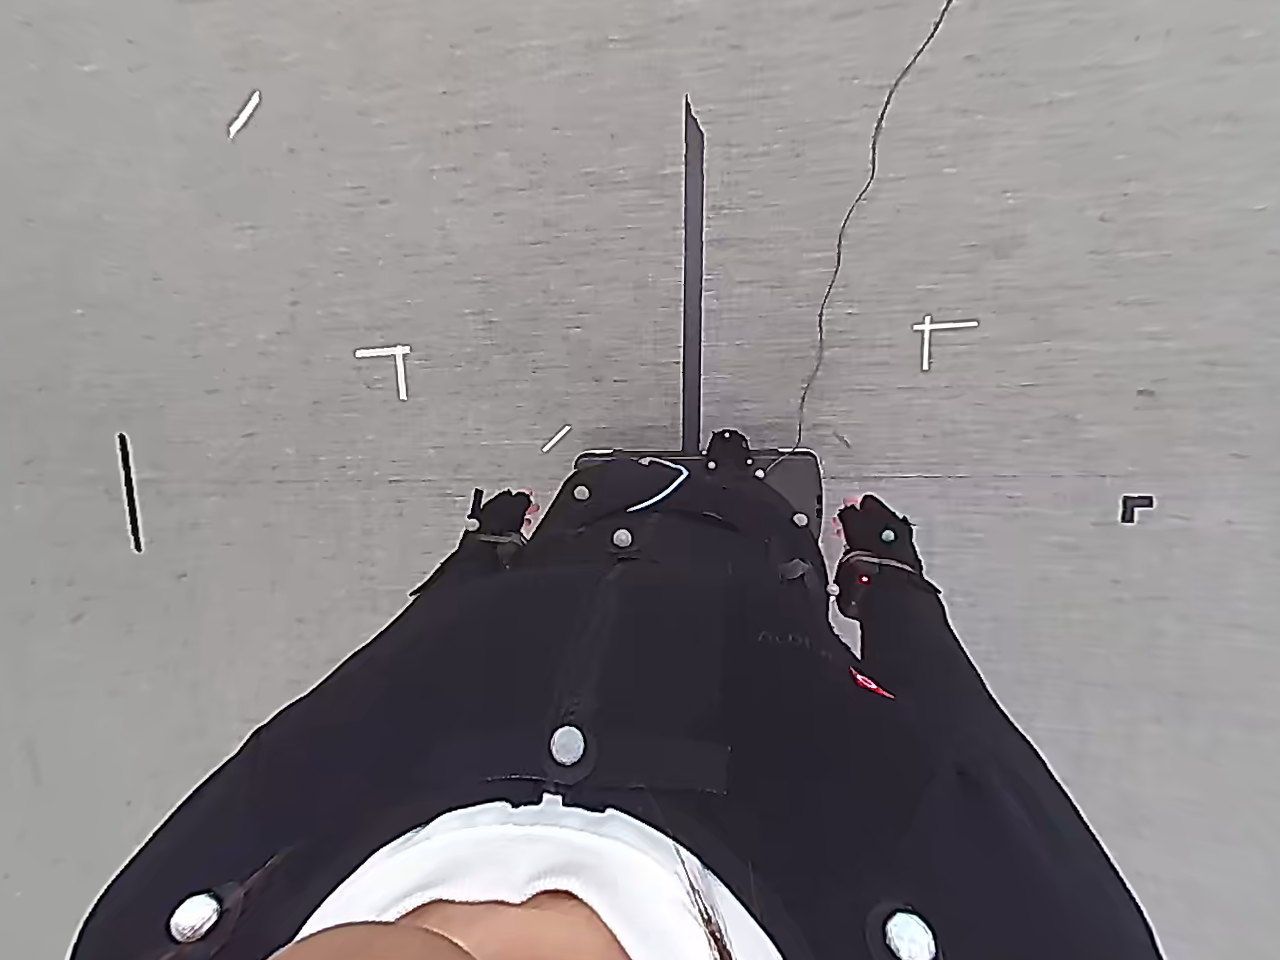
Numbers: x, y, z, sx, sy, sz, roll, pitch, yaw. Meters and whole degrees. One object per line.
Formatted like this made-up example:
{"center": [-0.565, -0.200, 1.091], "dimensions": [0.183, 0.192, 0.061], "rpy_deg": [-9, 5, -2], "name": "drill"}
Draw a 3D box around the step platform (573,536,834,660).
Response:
{"center": [0.162, 0.311, 1.458], "dimensions": [0.684, 0.204, 0.286], "rpy_deg": [-1, 96, 9], "name": "step platform"}
